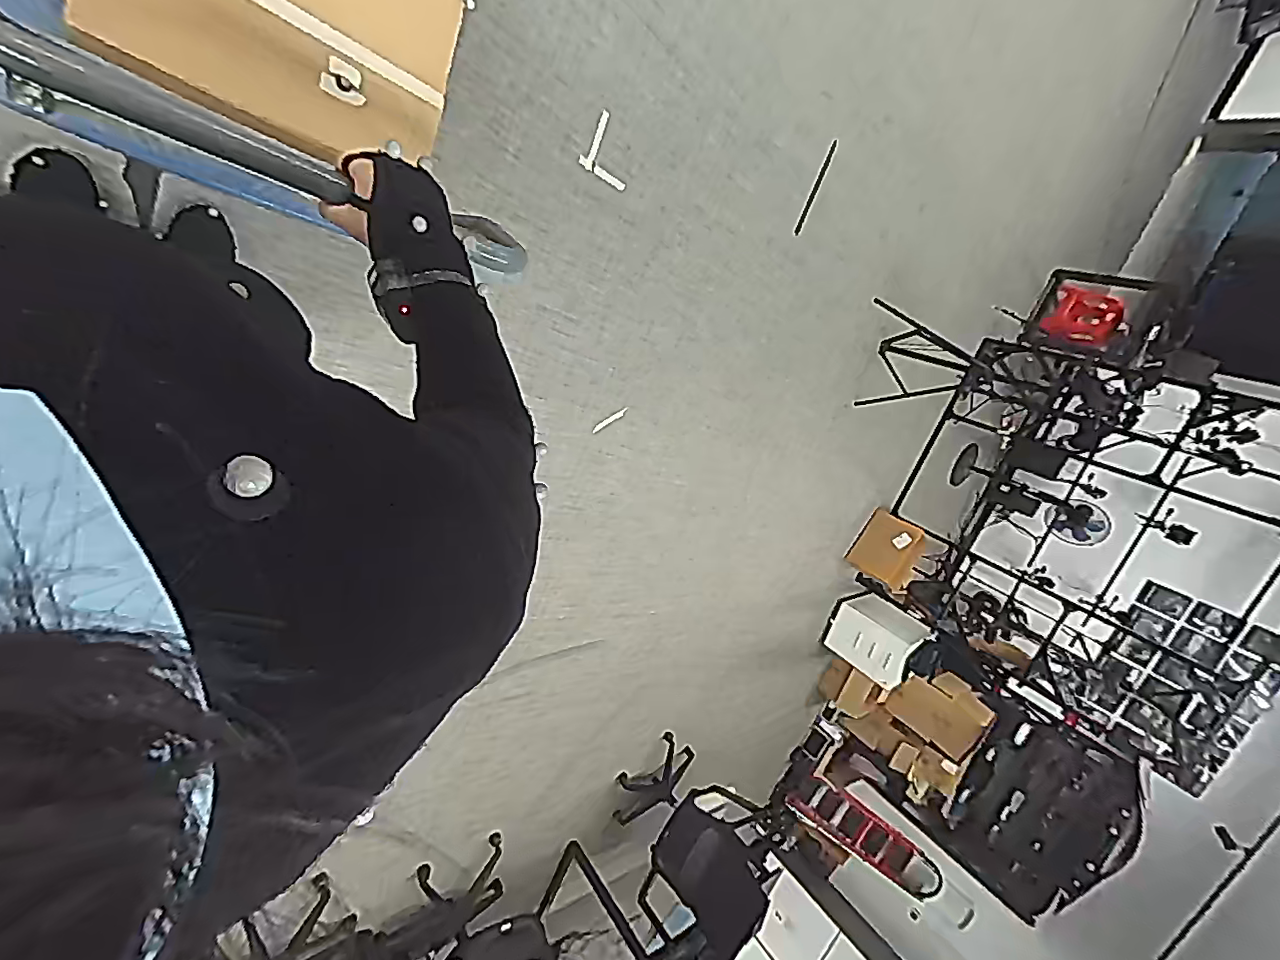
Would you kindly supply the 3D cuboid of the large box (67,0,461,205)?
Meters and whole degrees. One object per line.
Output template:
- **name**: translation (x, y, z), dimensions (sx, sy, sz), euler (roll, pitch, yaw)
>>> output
- **large box**: translation (-0.555, -0.662, 0.812), dimensions (0.408, 0.320, 0.320), euler (7, 110, -46)
